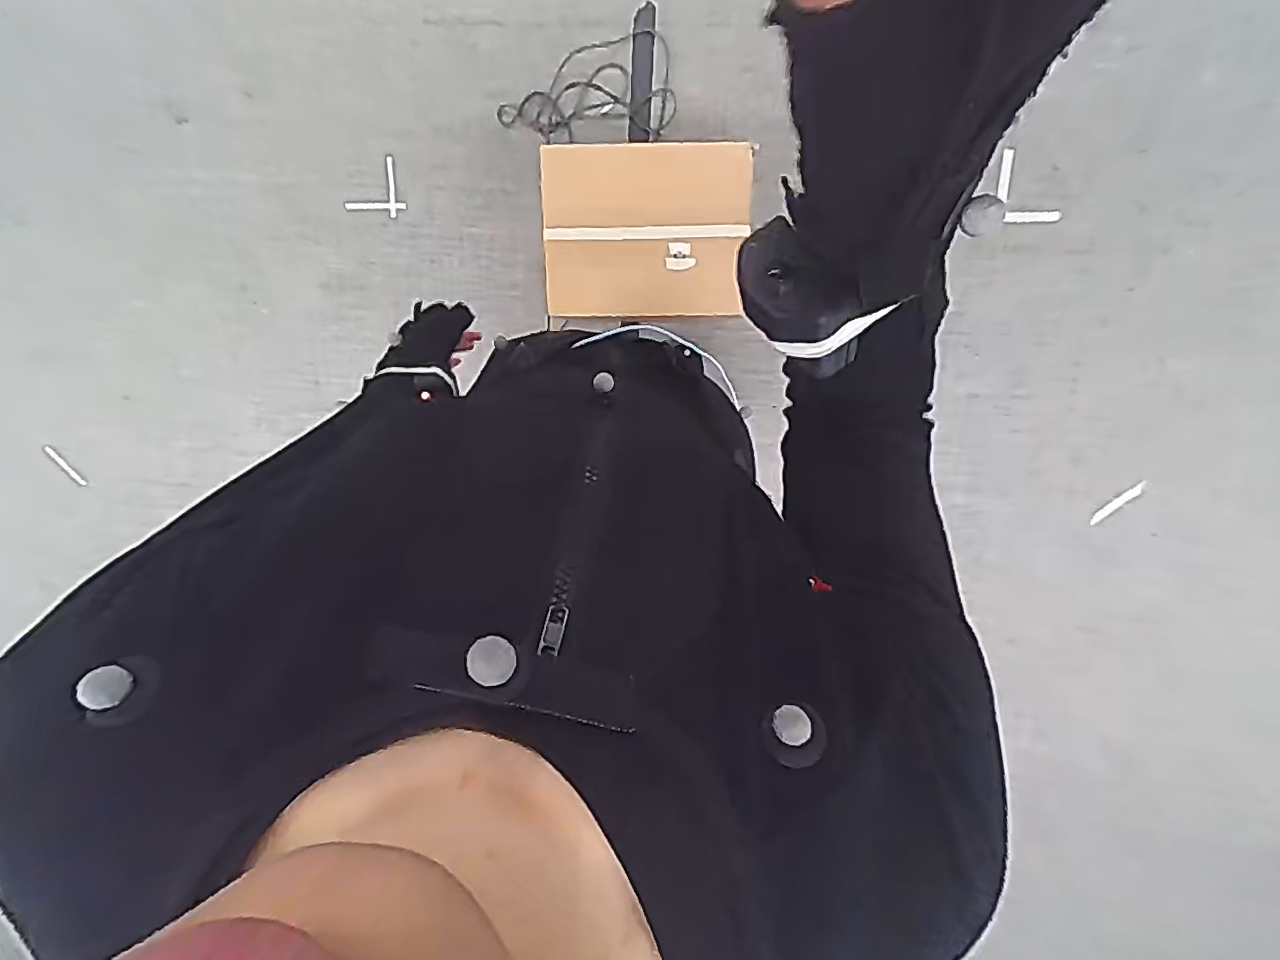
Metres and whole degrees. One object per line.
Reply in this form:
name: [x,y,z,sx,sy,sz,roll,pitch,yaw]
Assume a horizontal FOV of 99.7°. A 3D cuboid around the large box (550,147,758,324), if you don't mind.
large box: [0.028,-0.518,1.209,0.408,0.320,0.320,1,105,1]
